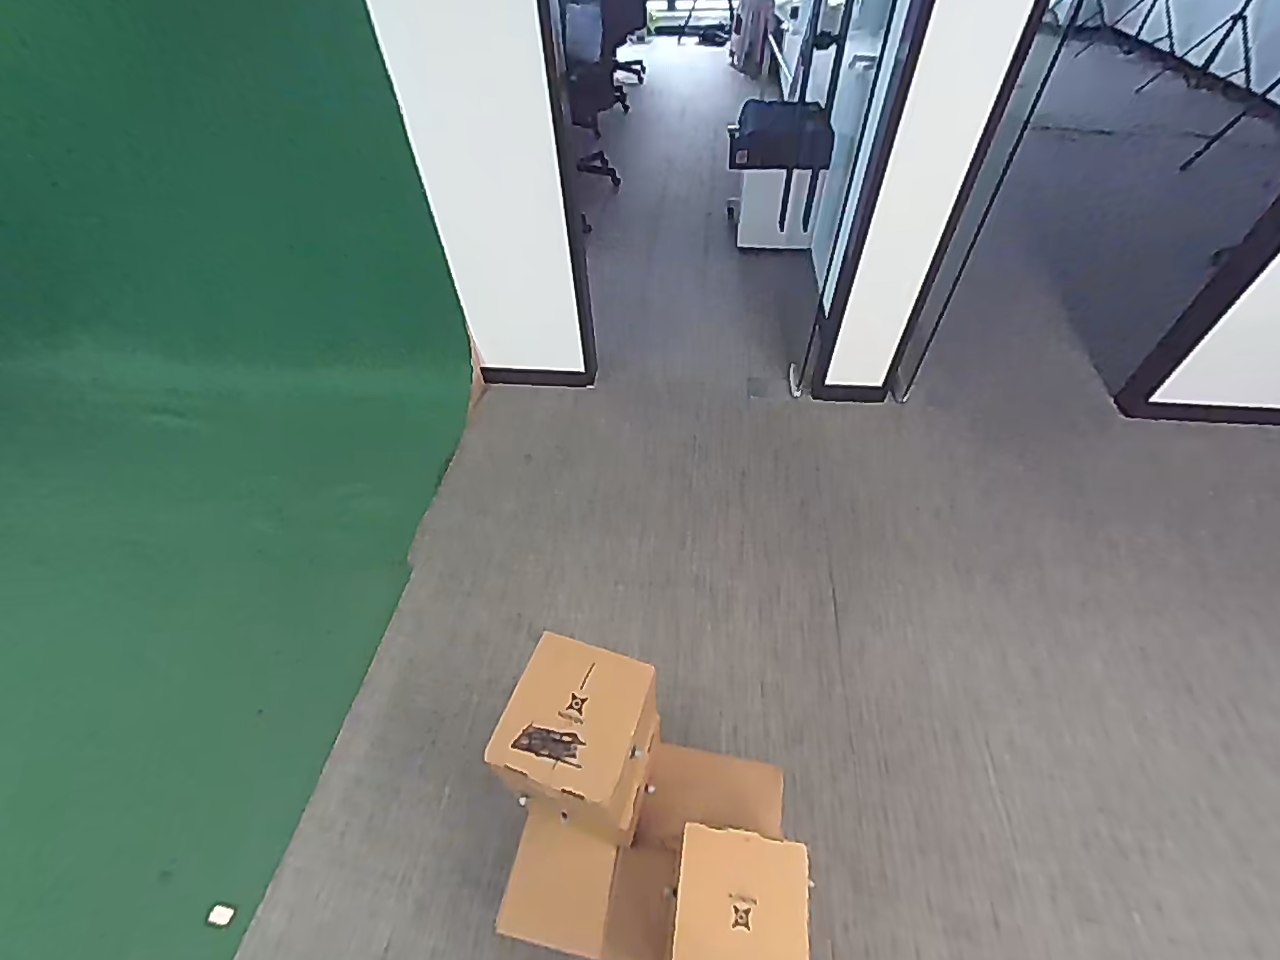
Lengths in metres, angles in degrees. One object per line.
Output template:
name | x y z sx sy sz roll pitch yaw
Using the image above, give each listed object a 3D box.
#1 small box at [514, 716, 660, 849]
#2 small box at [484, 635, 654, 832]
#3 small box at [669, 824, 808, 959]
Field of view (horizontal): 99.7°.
small box | -0.074 0.461 0.861 0.179 0.176 0.168 13 51 12
small box | -0.081 0.349 0.741 0.168 0.176 0.179 14 49 14
small box | 0.129 0.596 0.734 0.168 0.176 0.179 6 49 7
